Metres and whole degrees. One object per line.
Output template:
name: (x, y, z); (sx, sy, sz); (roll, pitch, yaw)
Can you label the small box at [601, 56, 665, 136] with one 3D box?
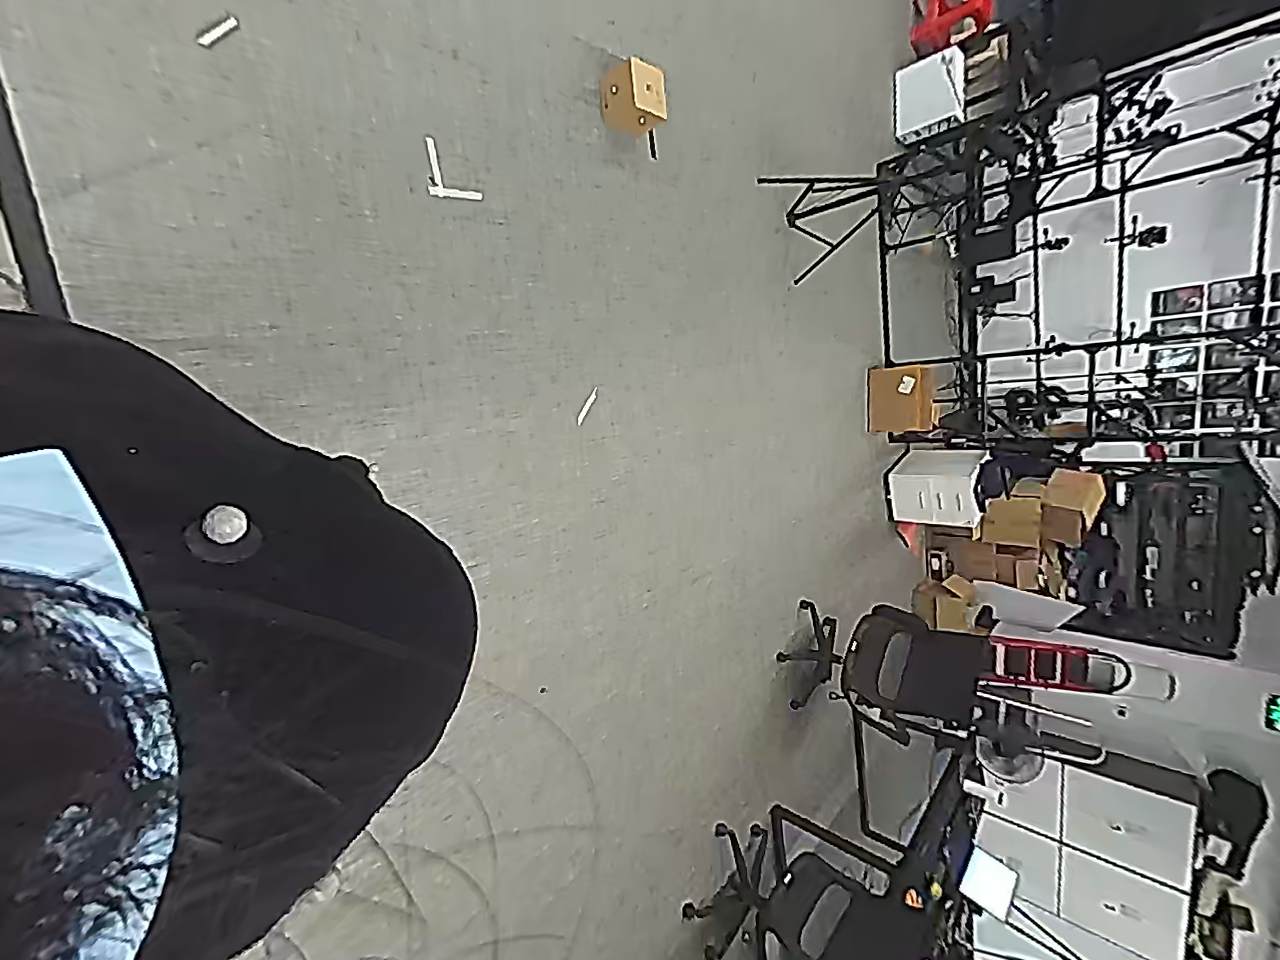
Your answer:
small box: (-0.033, -1.412, 2.004); (0.179, 0.176, 0.168); (-15, 103, -45)
